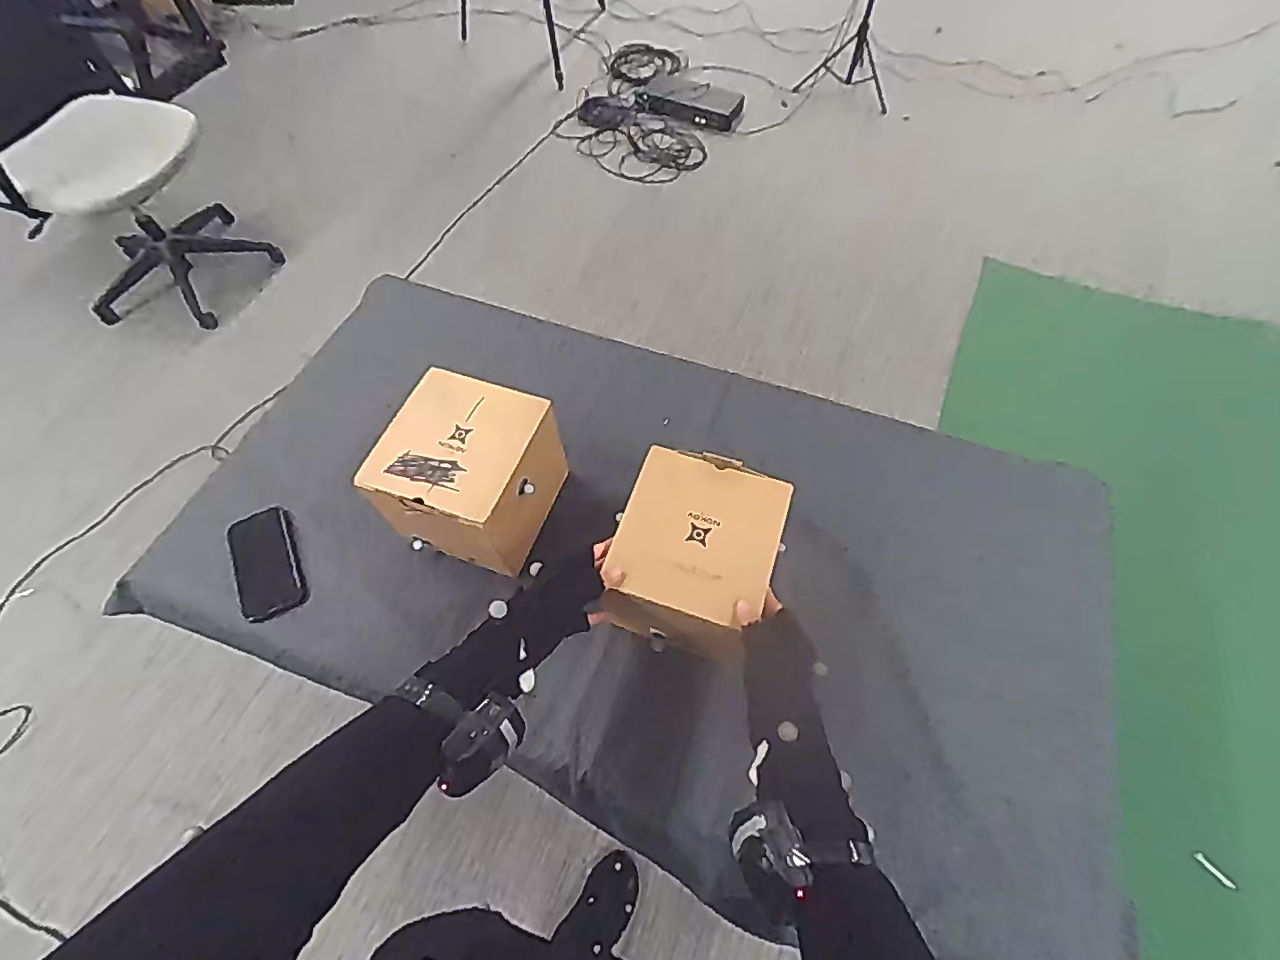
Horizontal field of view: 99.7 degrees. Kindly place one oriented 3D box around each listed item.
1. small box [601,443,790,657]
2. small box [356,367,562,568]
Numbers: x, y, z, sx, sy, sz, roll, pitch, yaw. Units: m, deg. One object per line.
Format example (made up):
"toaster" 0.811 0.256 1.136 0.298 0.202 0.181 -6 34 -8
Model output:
"small box" 0.063 0.088 0.639 0.168 0.176 0.179 15 64 10
"small box" -0.210 -0.009 0.691 0.168 0.176 0.179 17 62 9
